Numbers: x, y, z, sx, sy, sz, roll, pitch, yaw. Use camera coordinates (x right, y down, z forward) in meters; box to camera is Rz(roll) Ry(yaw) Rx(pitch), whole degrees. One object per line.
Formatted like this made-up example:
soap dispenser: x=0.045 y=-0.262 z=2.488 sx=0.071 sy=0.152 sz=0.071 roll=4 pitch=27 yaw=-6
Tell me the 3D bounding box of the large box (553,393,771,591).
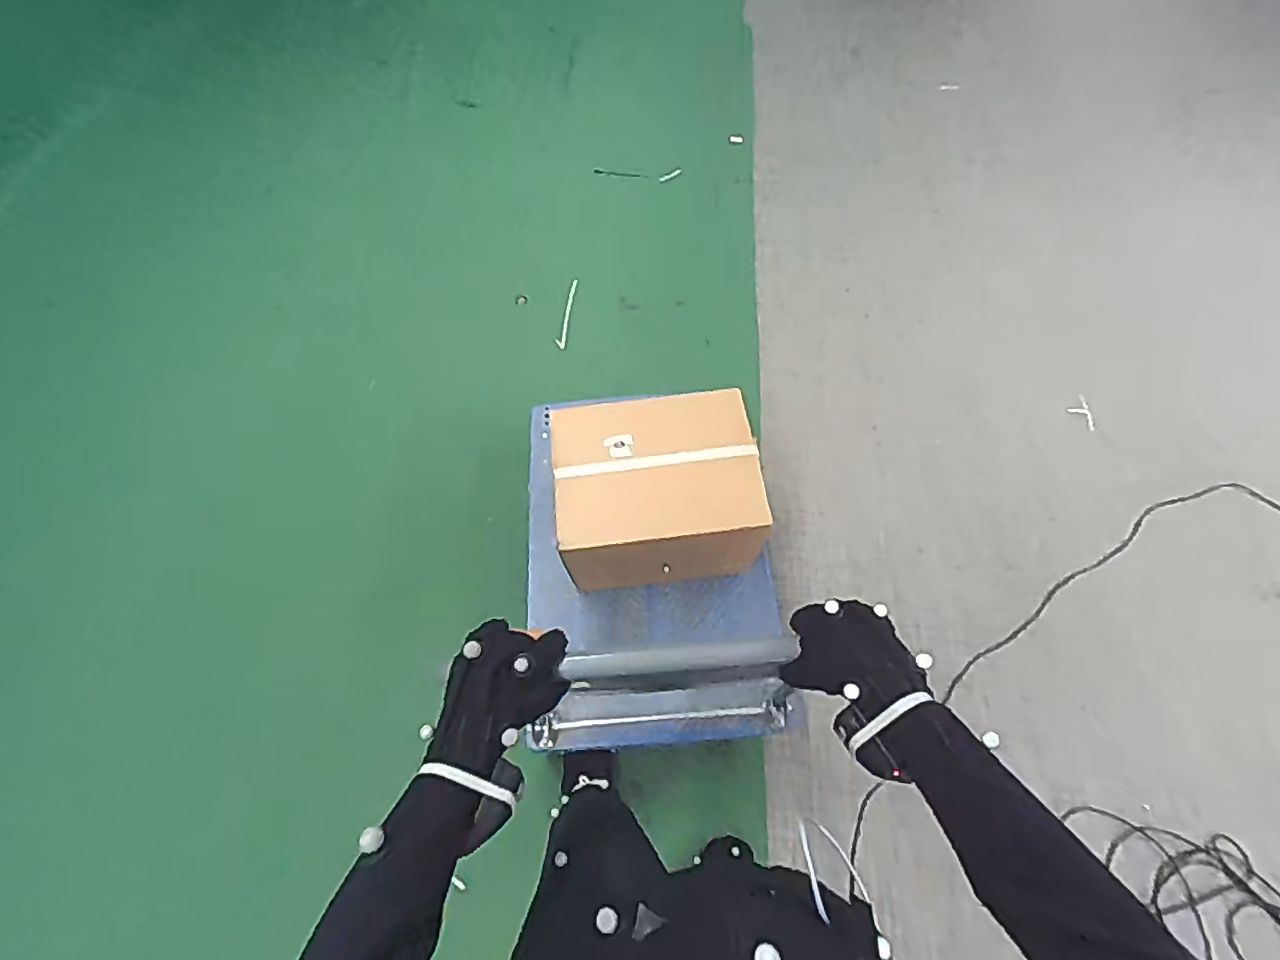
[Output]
large box: x=0.042 y=0.041 z=1.213 sx=0.408 sy=0.320 sz=0.320 roll=-8 pitch=64 yaw=-1
